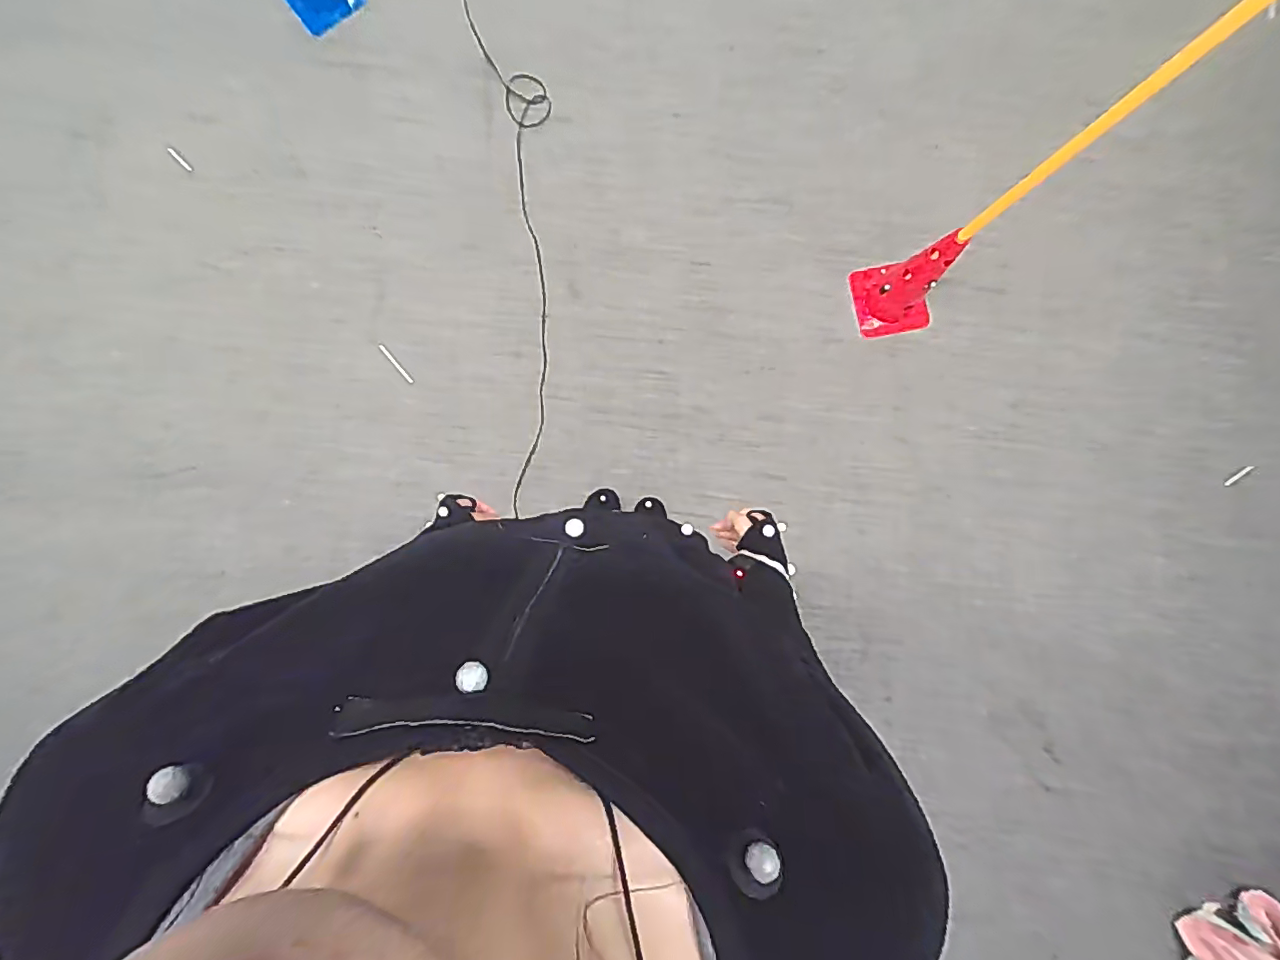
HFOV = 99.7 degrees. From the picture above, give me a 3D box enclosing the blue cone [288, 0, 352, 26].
[{"bbox_3d":[-0.939,-1.437,1.407,0.193,0.380,0.192,-39,89,0],"label":"blue cone"}]
